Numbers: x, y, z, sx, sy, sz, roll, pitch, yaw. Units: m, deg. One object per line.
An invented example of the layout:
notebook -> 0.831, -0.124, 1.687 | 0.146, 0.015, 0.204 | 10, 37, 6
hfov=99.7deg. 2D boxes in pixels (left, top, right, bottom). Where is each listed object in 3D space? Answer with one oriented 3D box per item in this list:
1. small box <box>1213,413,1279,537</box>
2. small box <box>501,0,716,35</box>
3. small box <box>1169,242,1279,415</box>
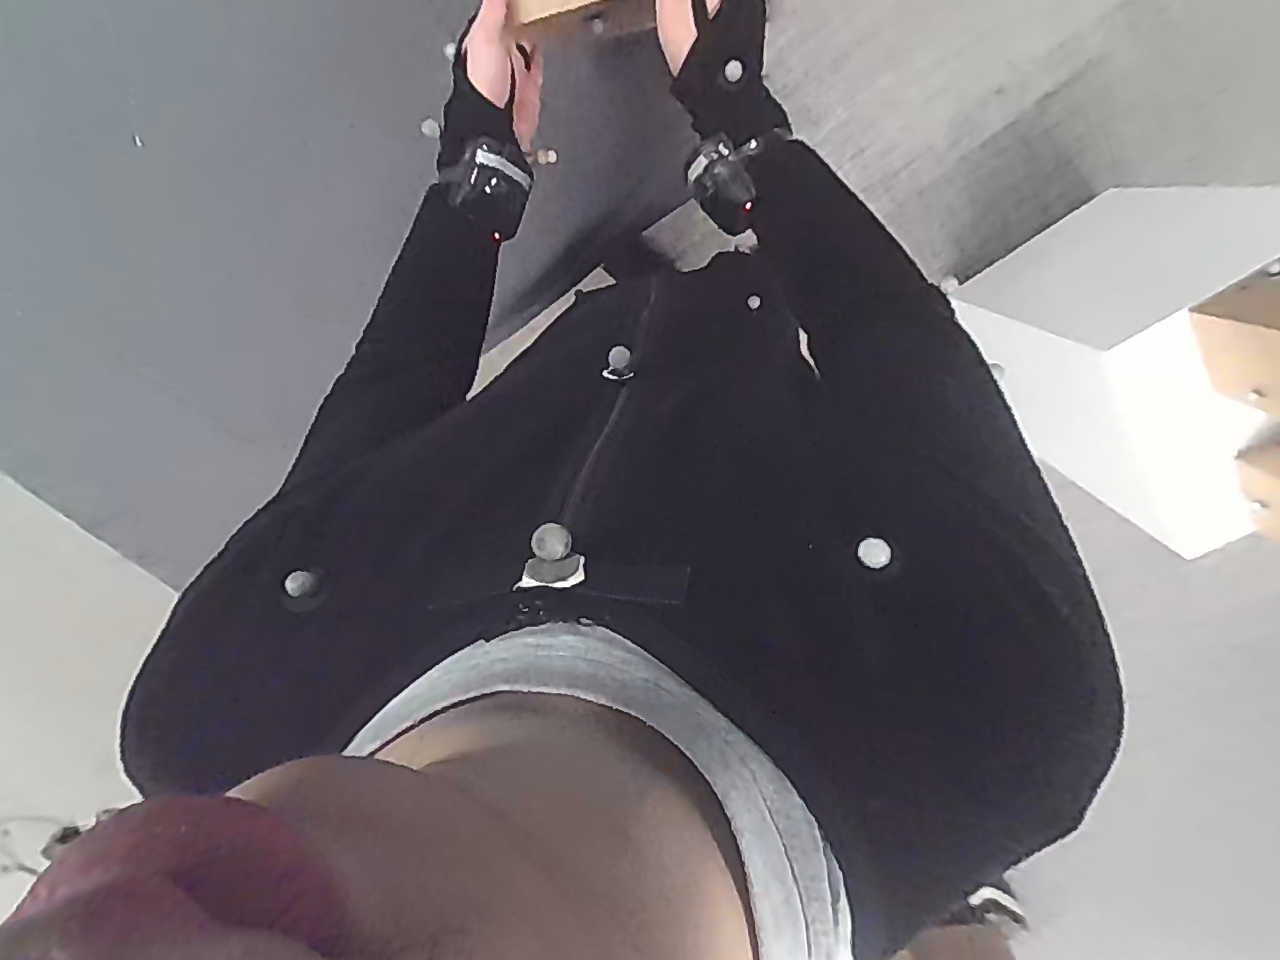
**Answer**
small box -> 1.140, -0.006, 0.909 | 0.168, 0.176, 0.179 | -34, 113, 15
small box -> -0.020, -0.476, 0.421 | 0.179, 0.176, 0.168 | -2, 122, 14
small box -> 0.950, -0.226, 0.794 | 0.168, 0.176, 0.179 | -37, 112, 15
